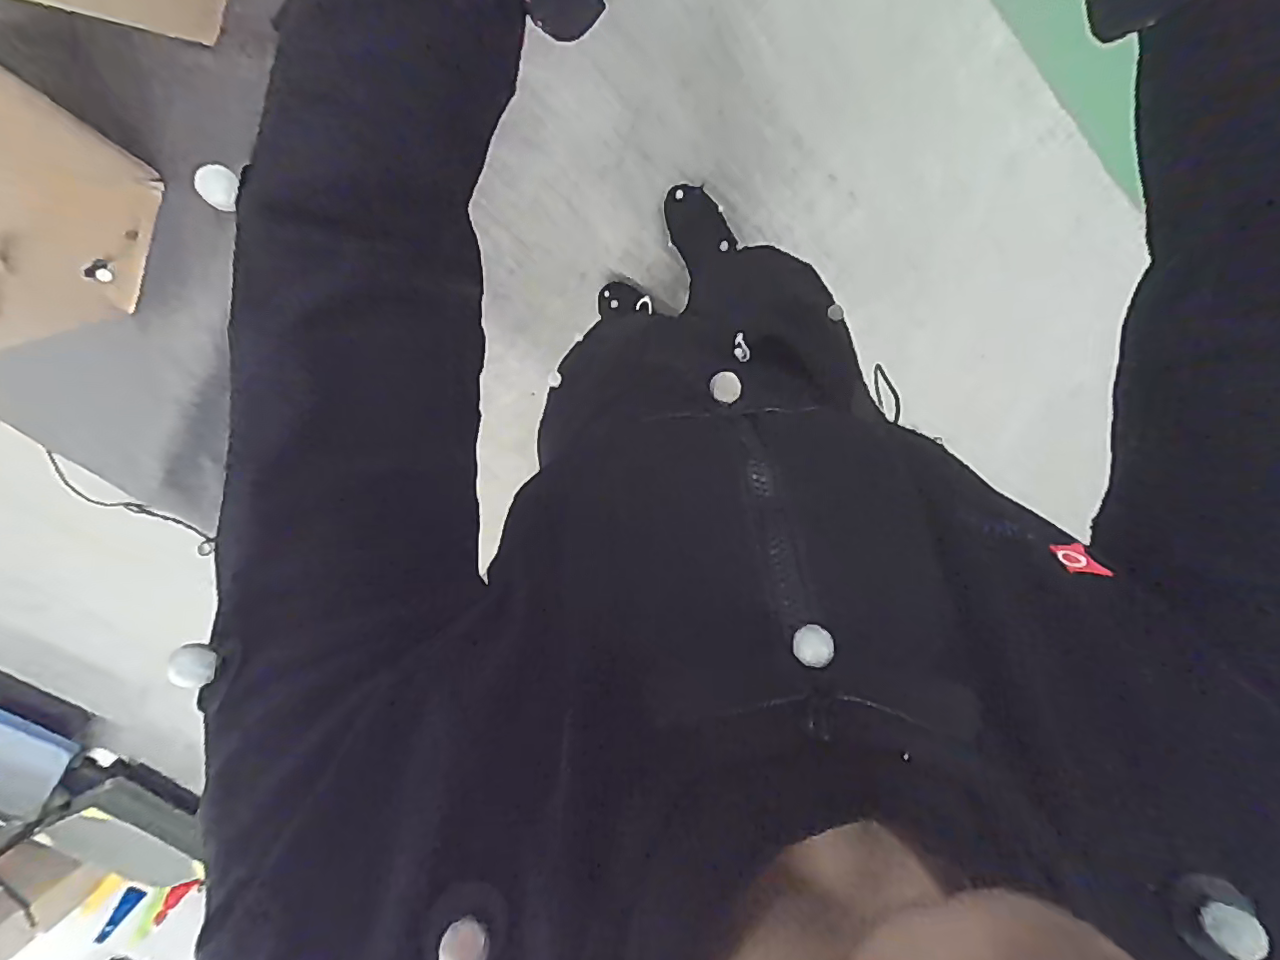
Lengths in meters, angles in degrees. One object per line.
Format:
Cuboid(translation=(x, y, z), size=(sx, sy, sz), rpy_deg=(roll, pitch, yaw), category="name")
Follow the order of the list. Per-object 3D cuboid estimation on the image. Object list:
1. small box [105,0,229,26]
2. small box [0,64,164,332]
Cuboid(translation=(-0.377, -0.428, 0.327), size=(0.179, 0.176, 0.168), rpy_deg=(36, 117, -15), category="small box")
Cuboid(translation=(-0.573, -0.243, 0.458), size=(0.179, 0.176, 0.168), rpy_deg=(35, 117, -15), category="small box")
